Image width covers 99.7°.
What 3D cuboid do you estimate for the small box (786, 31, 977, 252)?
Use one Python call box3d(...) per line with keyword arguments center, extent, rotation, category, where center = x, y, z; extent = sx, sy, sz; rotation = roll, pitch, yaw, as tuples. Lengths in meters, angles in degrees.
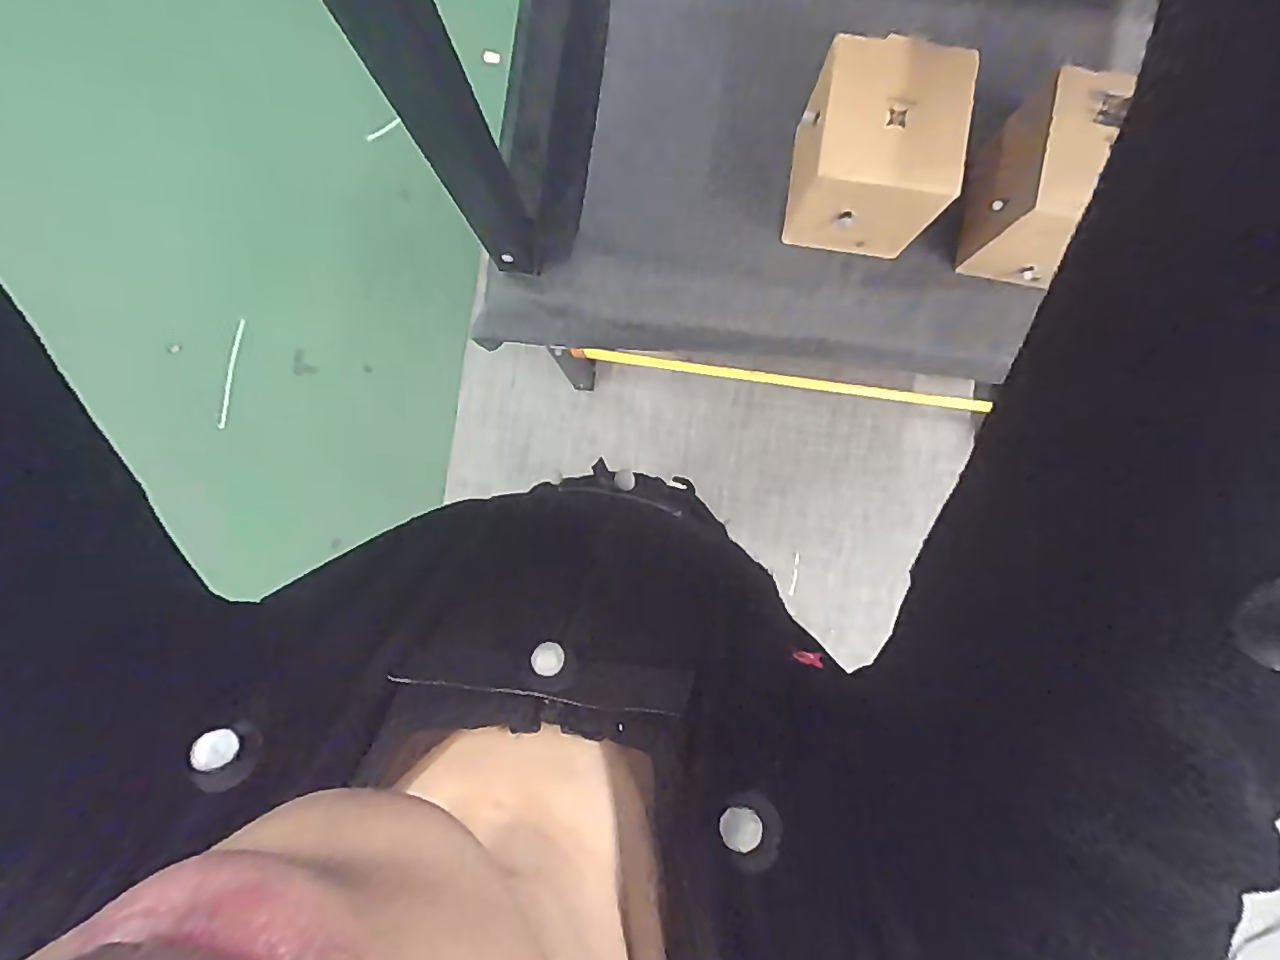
box3d(center=(0.297, -0.420, 0.701), extent=(0.168, 0.176, 0.179), rotation=(8, 88, 1), category="small box")
